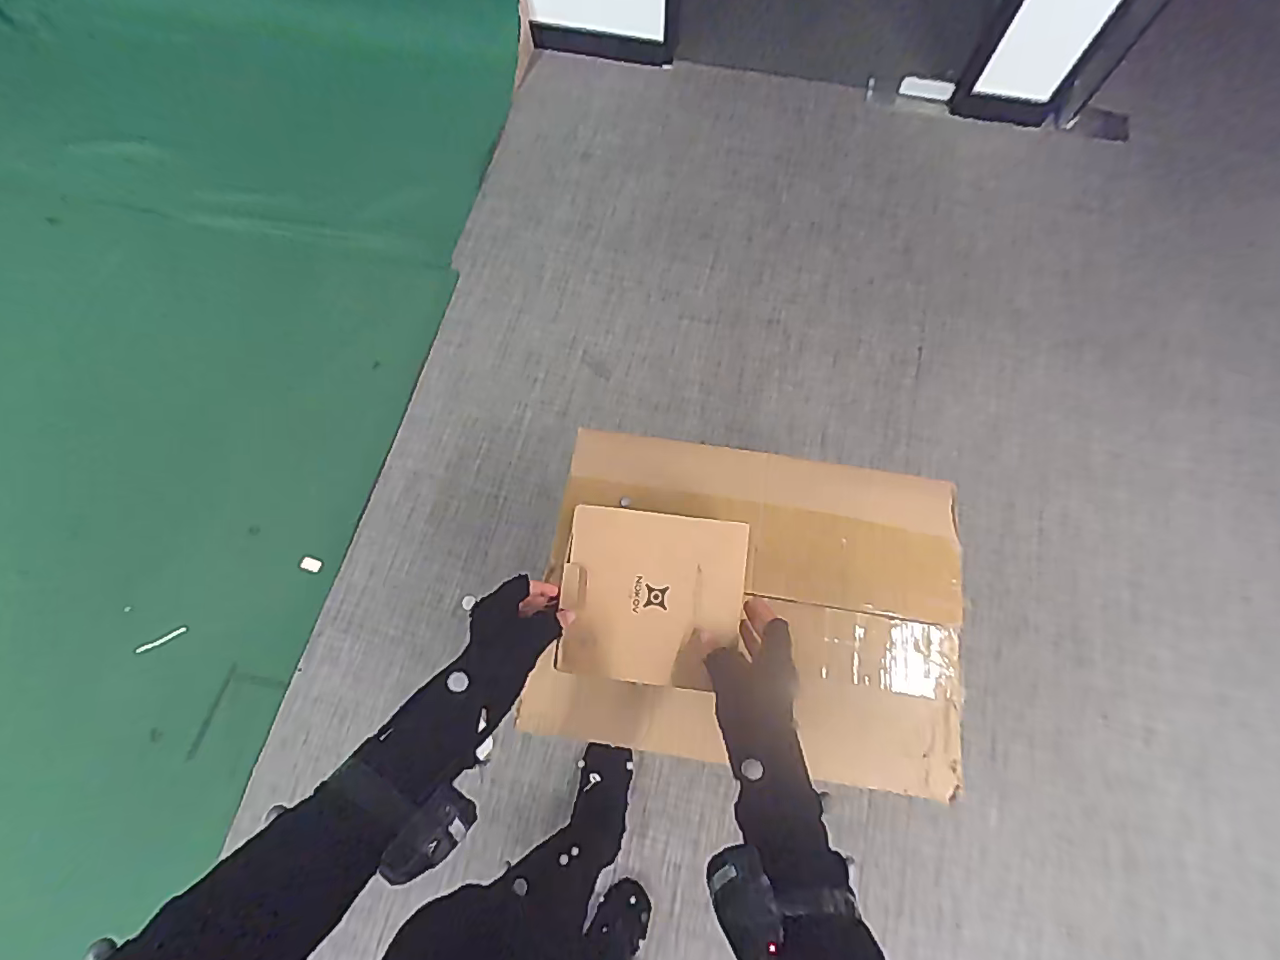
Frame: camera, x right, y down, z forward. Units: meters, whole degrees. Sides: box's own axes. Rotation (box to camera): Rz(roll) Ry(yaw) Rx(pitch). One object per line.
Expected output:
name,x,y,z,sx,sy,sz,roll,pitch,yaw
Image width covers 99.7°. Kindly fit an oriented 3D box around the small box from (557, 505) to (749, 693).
small box,0.016,0.124,0.608,0.179,0.176,0.168,6,85,2
